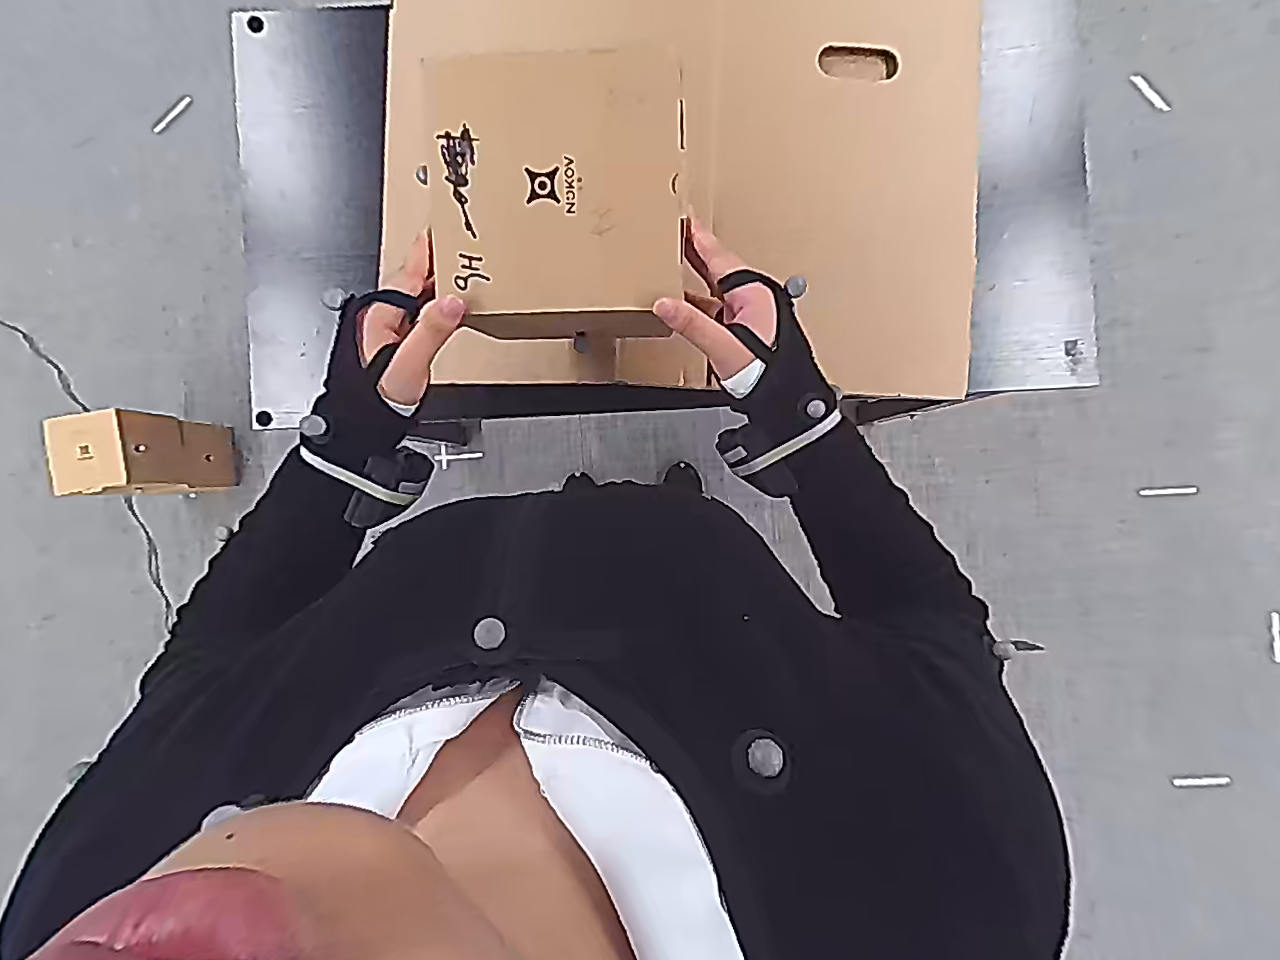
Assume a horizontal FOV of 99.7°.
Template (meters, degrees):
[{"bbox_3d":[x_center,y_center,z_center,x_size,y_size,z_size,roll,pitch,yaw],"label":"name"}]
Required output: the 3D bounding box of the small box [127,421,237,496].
[{"bbox_3d":[-1.220,-0.052,1.439,0.168,0.176,0.179,-7,90,1],"label":"small box"}]

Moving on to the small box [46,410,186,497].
[{"bbox_3d":[-1.223,-0.059,1.277,0.168,0.176,0.179,-10,89,0],"label":"small box"}]

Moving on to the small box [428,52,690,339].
[{"bbox_3d":[-0.056,-0.213,0.450,0.179,0.176,0.168,-1,97,-1],"label":"small box"}]
